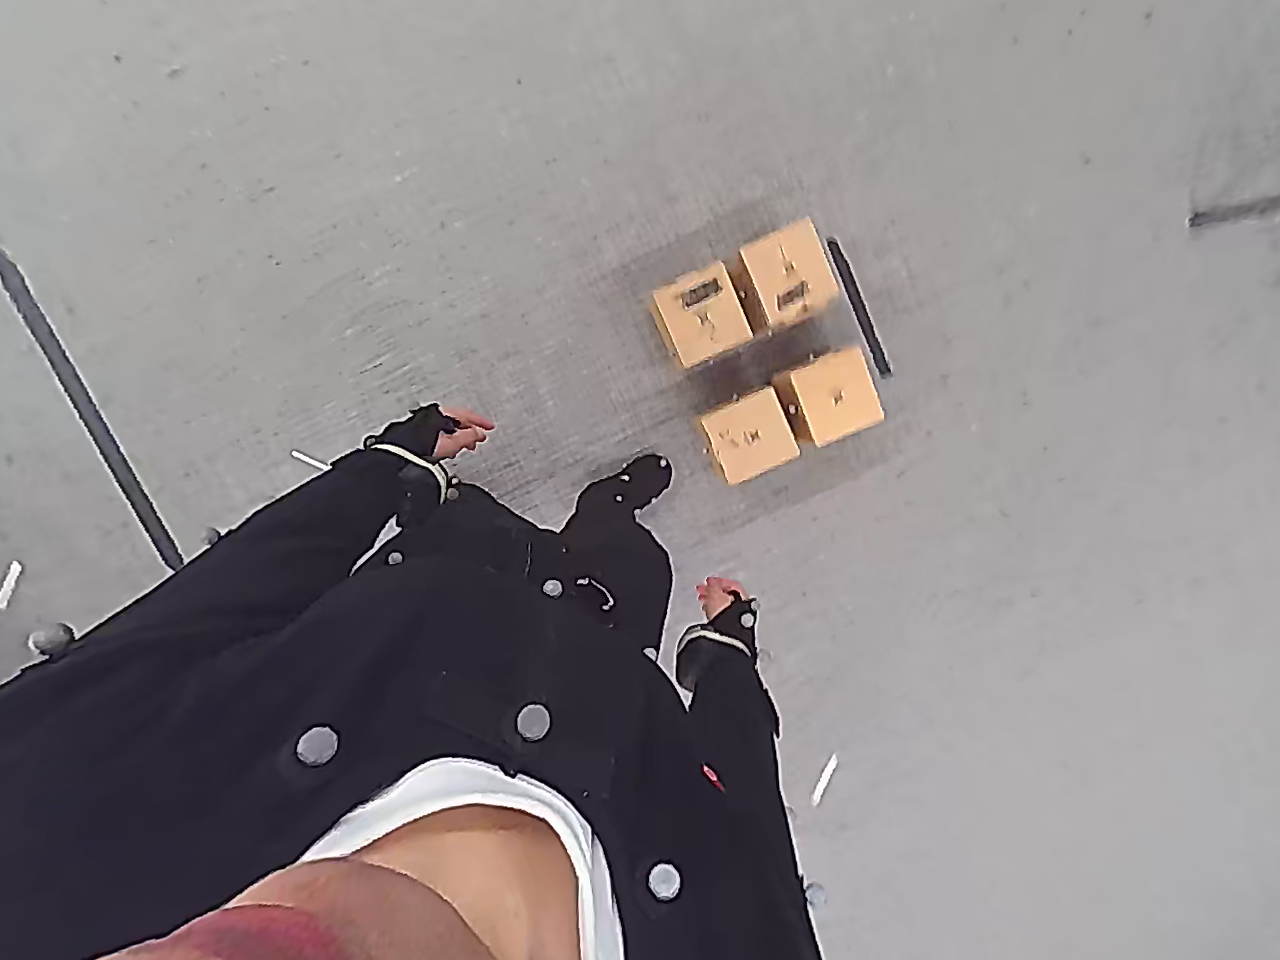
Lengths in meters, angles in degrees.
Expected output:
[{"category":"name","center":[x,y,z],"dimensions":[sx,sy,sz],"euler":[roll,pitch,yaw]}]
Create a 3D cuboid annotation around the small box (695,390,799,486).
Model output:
[{"category":"small box","center":[0.246,-0.105,1.286],"dimensions":[0.179,0.176,0.168],"euler":[-24,97,3]}]
